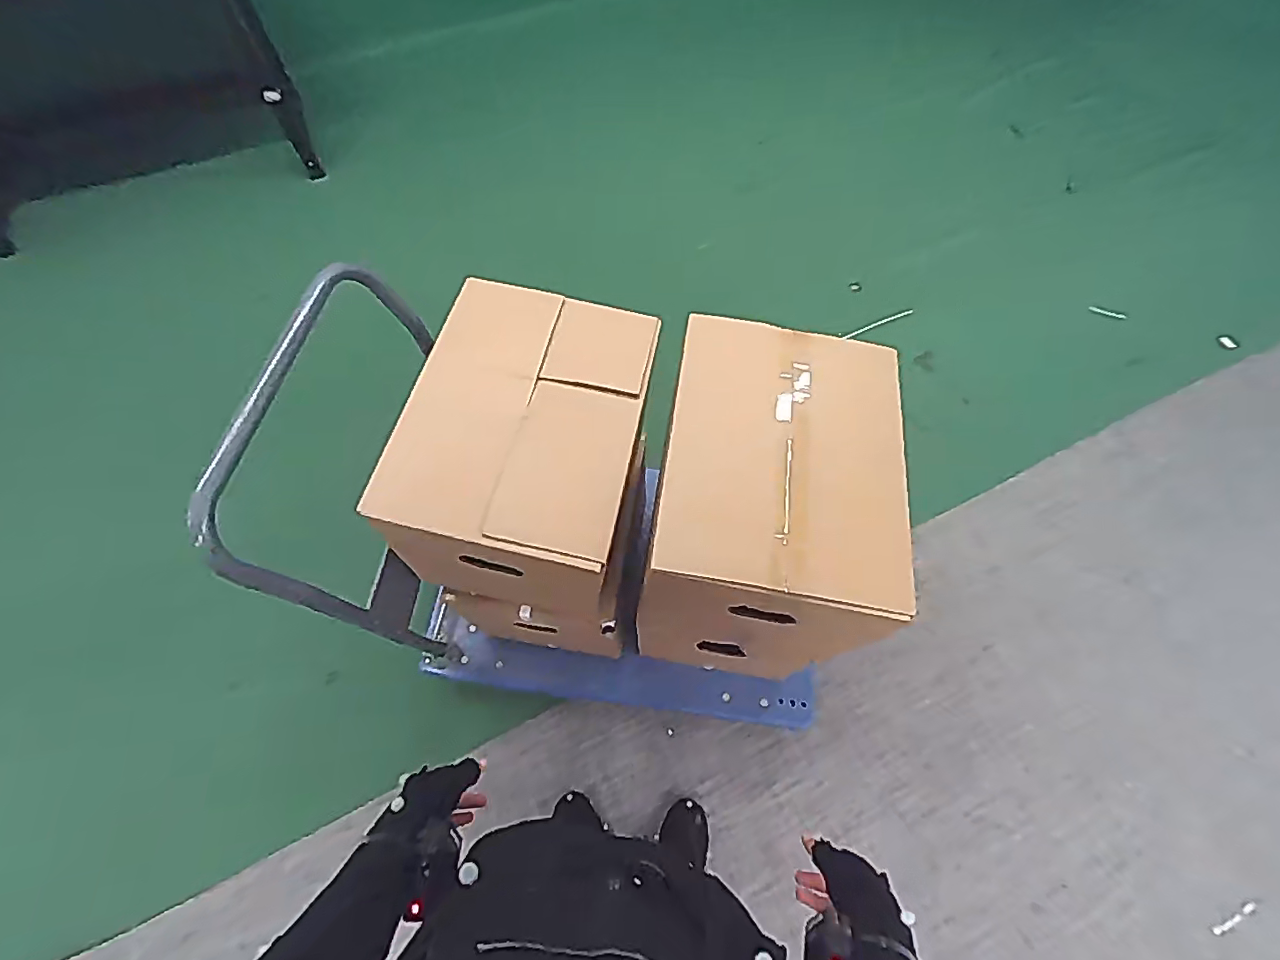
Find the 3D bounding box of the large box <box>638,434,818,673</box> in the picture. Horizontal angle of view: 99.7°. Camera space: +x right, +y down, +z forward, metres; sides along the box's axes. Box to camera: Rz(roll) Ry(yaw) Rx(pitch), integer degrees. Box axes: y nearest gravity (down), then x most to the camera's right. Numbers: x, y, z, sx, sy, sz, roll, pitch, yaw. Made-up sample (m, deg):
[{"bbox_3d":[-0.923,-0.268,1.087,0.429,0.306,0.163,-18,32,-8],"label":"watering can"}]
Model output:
[{"bbox_3d":[0.177,0.162,1.138,0.320,0.320,0.408,7,65,6],"label":"large box"}]
